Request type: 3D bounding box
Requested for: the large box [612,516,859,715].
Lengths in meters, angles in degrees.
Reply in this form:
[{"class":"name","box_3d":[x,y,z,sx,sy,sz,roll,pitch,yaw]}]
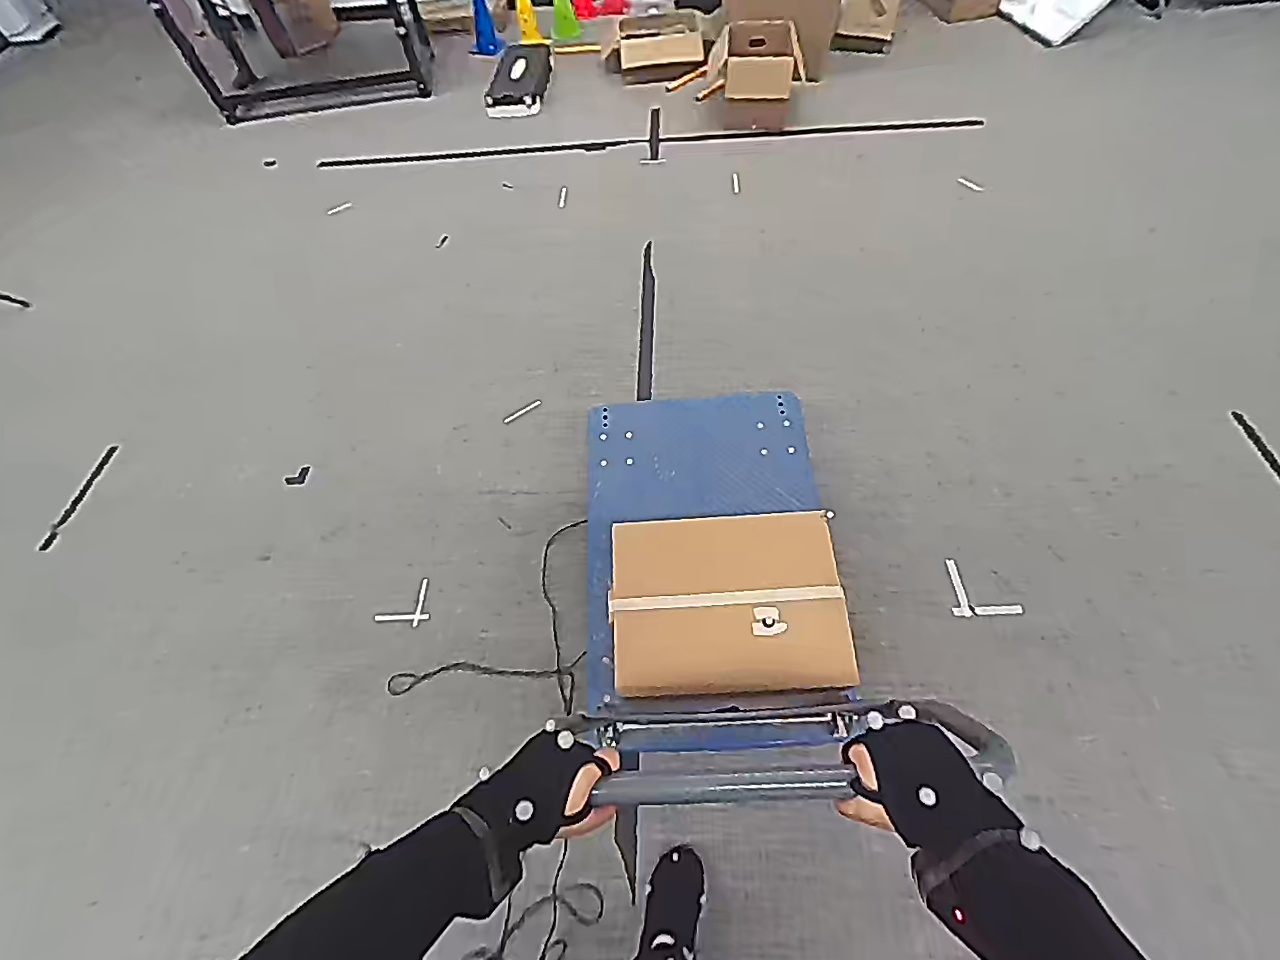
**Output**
[{"class":"large box","box_3d":[0.162,0.286,1.085,0.408,0.320,0.320,-4,65,2]}]
